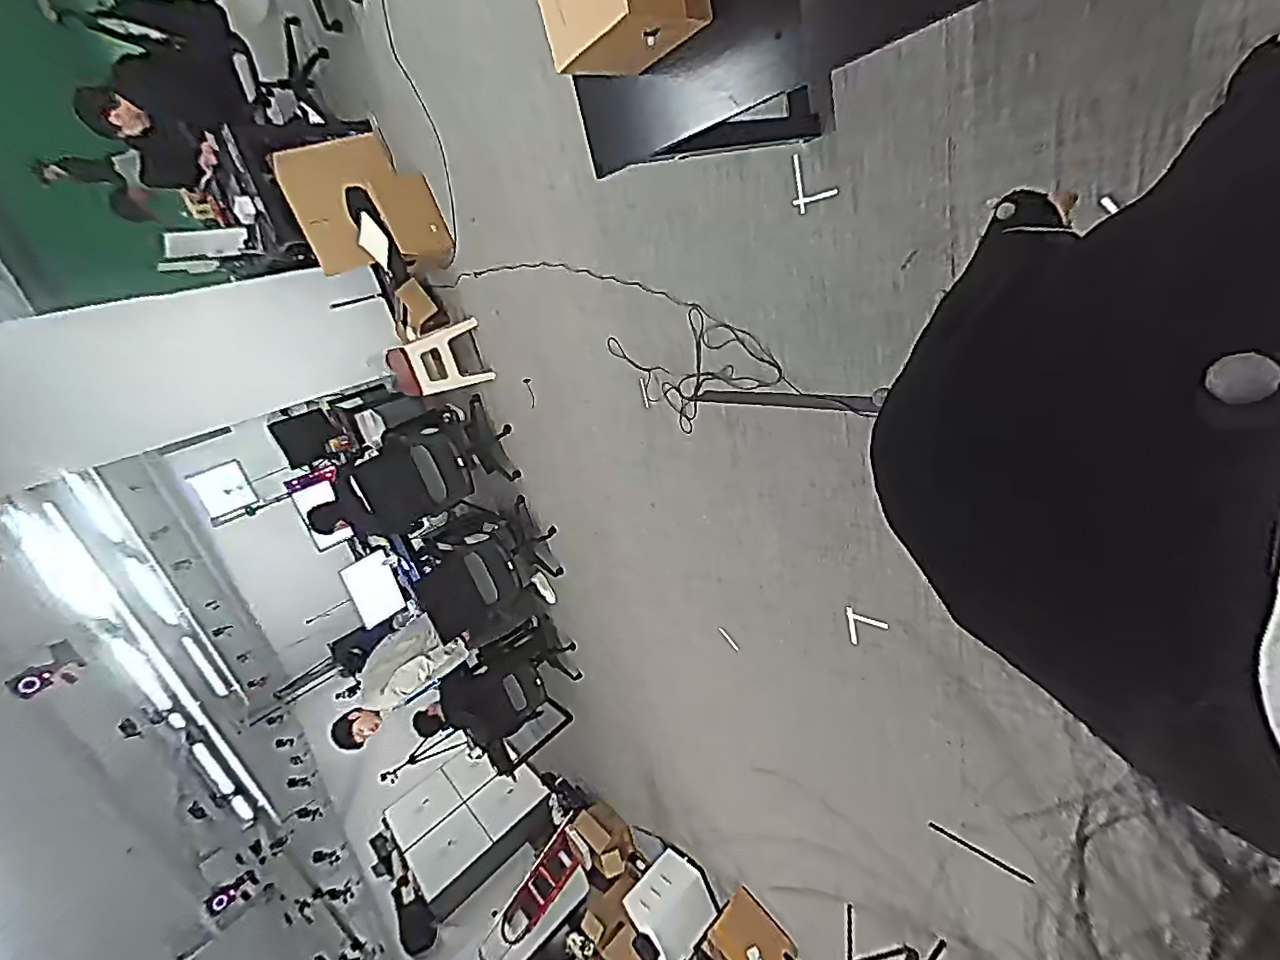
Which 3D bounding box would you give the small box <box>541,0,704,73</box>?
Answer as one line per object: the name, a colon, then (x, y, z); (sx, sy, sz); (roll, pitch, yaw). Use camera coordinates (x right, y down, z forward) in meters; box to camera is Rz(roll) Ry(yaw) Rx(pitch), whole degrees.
small box: (-0.027, -0.712, 0.767); (0.179, 0.176, 0.168); (9, 121, 50)
